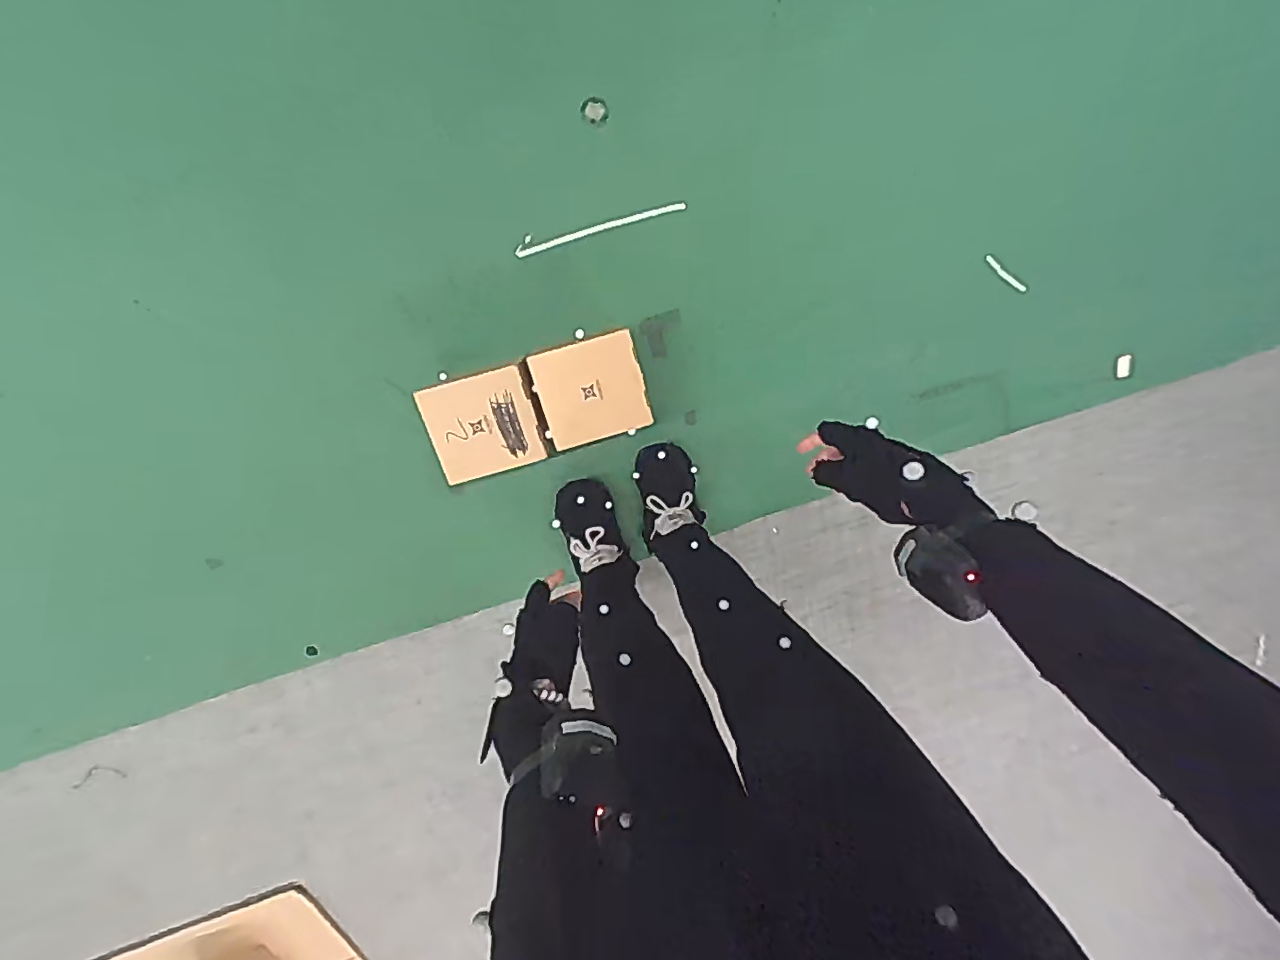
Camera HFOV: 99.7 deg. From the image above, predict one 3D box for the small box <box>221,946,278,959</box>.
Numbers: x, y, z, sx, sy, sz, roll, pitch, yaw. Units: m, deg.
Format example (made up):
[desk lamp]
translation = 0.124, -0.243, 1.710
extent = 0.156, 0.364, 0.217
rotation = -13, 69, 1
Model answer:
[small box]
translation = -0.995, 1.293, 1.311
extent = 0.179, 0.176, 0.168
rotation = -17, 110, -3
